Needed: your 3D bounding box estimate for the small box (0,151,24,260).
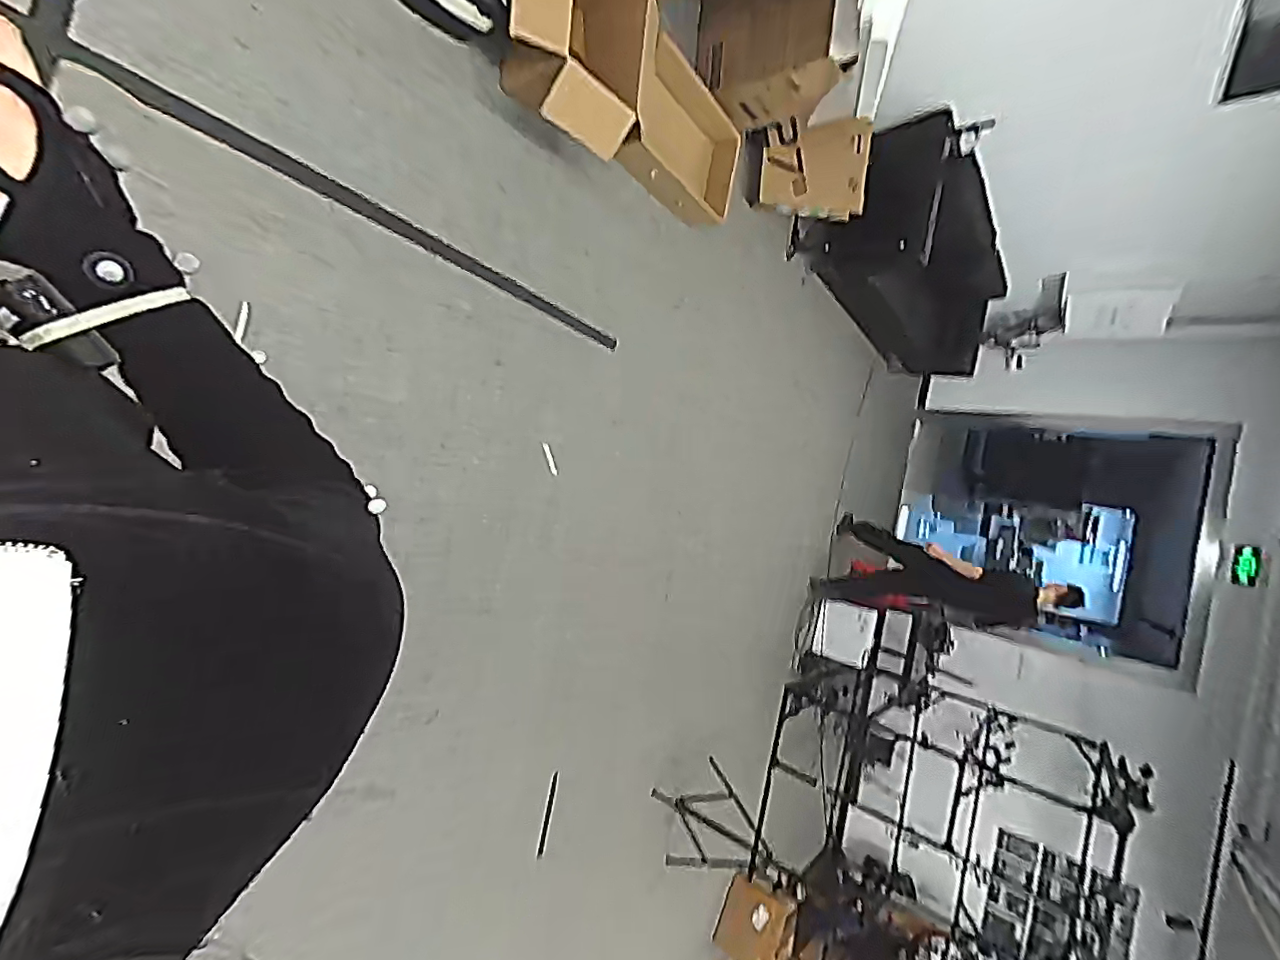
[{"bbox_3d":[-0.940,-0.359,0.695,0.168,0.176,0.179,14,87,-51],"label":"small box"}]
